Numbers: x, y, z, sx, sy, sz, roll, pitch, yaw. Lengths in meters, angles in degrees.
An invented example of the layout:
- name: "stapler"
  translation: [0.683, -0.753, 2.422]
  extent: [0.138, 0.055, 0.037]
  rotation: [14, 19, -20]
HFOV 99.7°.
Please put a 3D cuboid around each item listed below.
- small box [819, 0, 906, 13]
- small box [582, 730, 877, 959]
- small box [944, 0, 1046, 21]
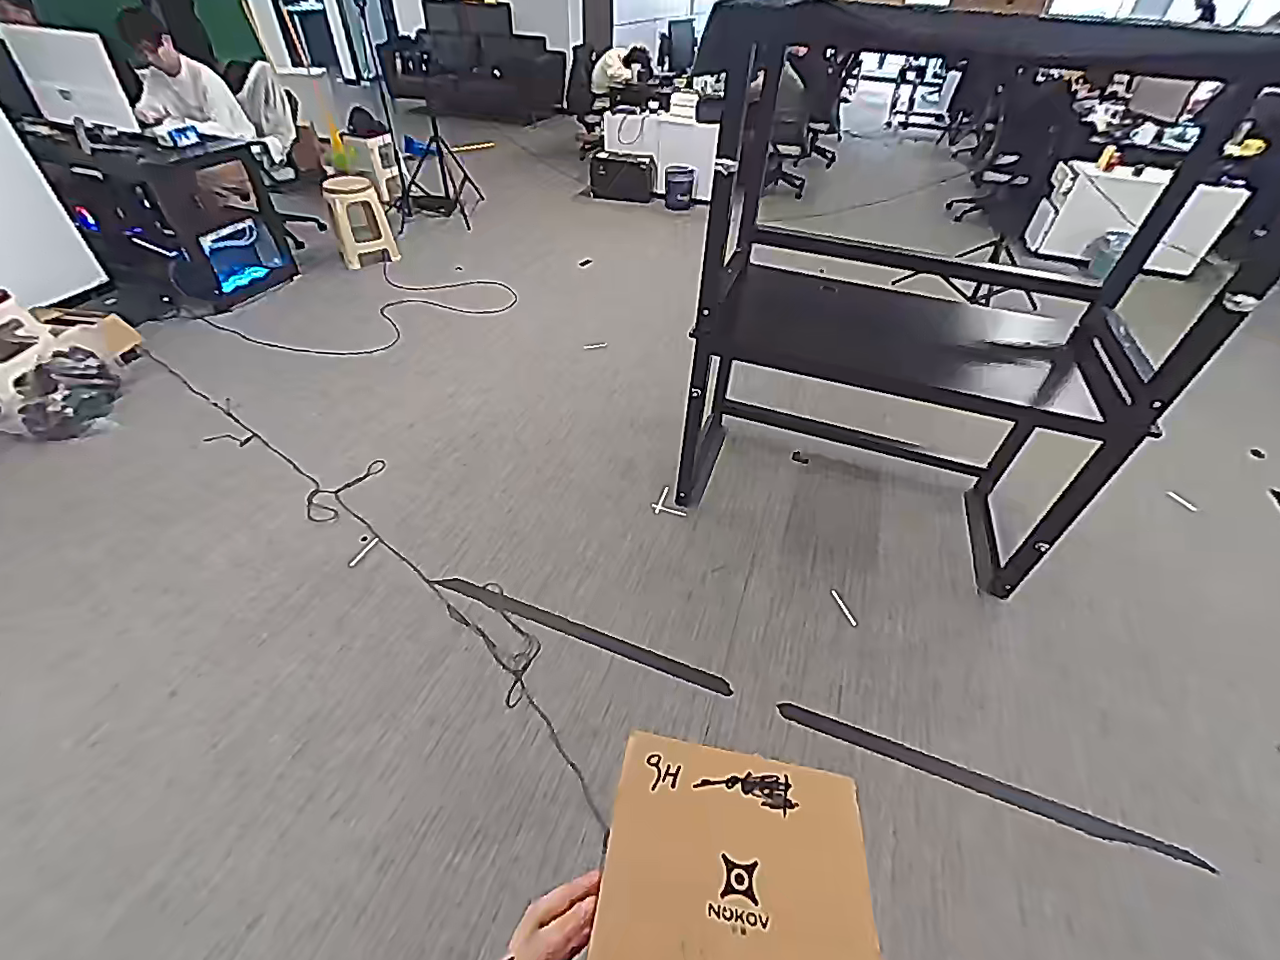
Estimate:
- name: "small box"
  translation: [0.458, -1.028, 1.057]
  extent: [0.168, 0.176, 0.179]
  rotation: [16, 42, 12]
- name: "small box"
  translation: [0.050, 0.311, 0.372]
  extent: [0.168, 0.176, 0.179]
  rotation: [11, 38, 4]
- name: "small box"
  translation: [0.694, -0.980, 1.020]
  extent: [0.168, 0.176, 0.179]
  rotation: [17, 42, 14]
